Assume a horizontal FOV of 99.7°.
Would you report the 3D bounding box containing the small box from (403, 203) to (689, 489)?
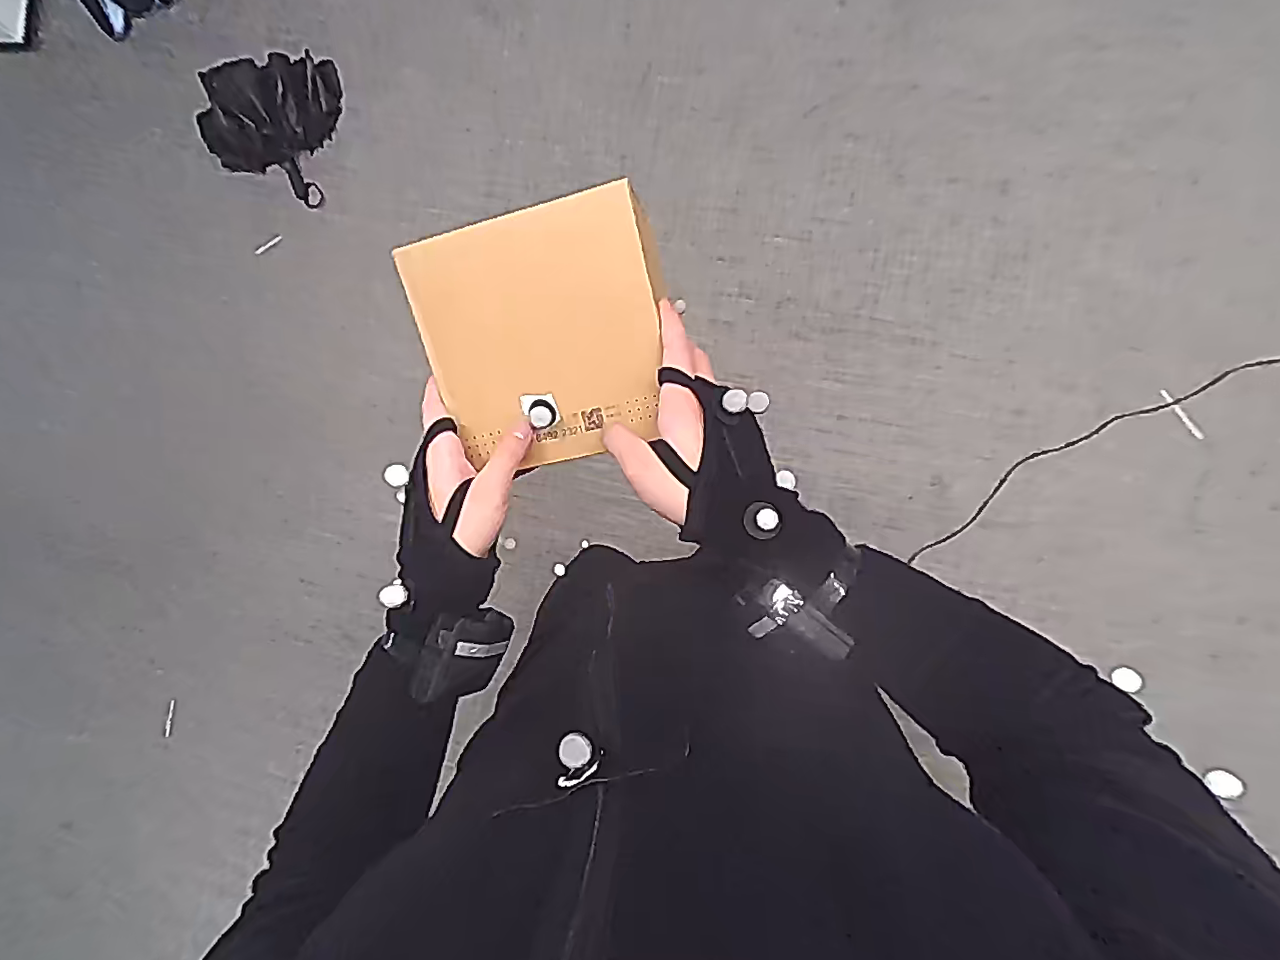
[{"bbox_3d":[-0.058,-0.102,0.455,0.168,0.179,0.176,-14,103,9],"label":"small box"}]
